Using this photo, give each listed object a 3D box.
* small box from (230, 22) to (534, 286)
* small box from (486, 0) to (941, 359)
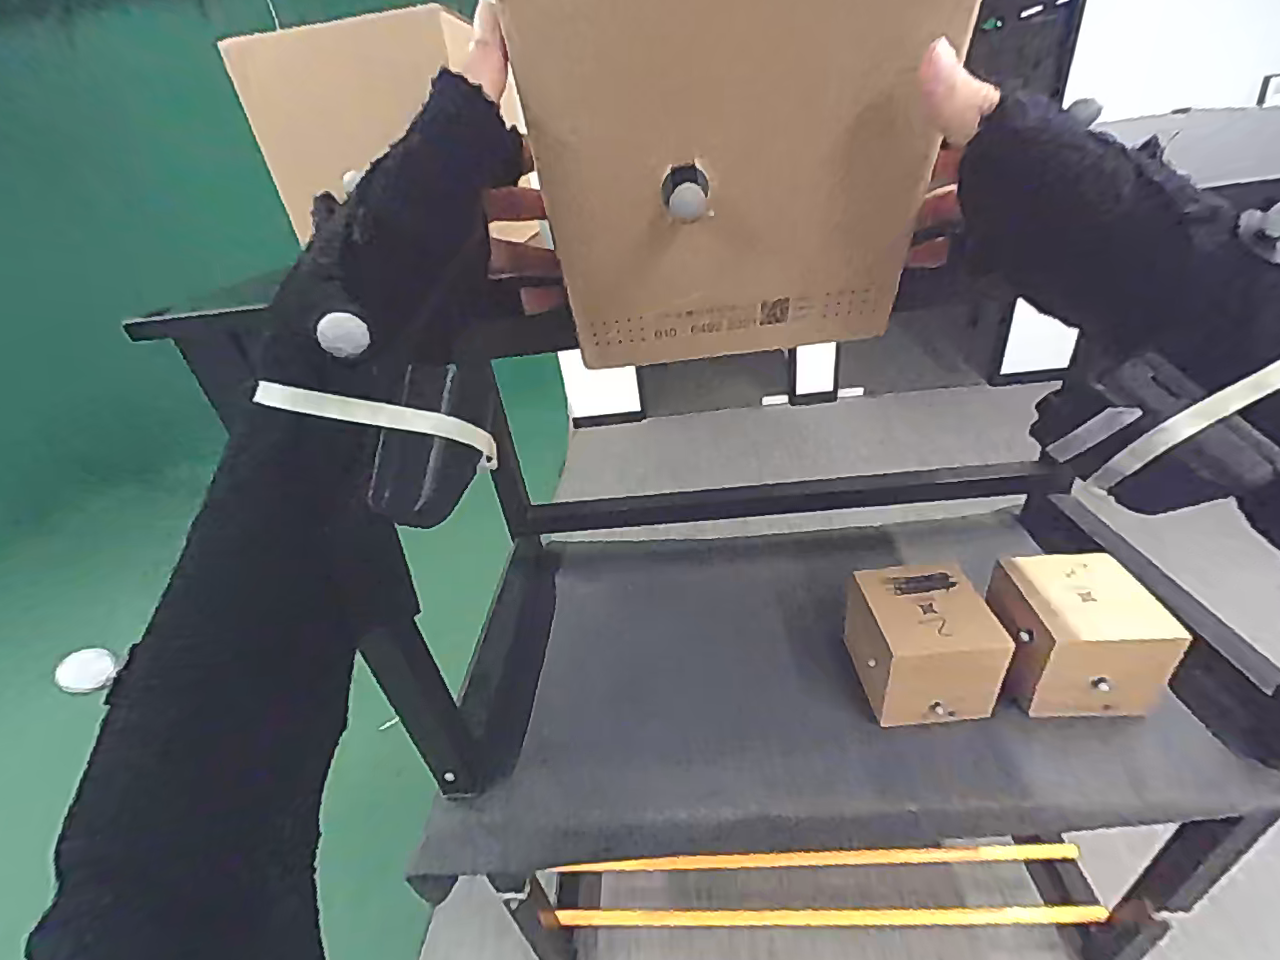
[{"bbox_3d":[-0.205,-0.285,0.494,0.168,0.176,0.179,-5,32,6],"label":"small box"},{"bbox_3d":[0.034,-0.180,0.292,0.168,0.176,0.179,-6,50,4],"label":"small box"}]
